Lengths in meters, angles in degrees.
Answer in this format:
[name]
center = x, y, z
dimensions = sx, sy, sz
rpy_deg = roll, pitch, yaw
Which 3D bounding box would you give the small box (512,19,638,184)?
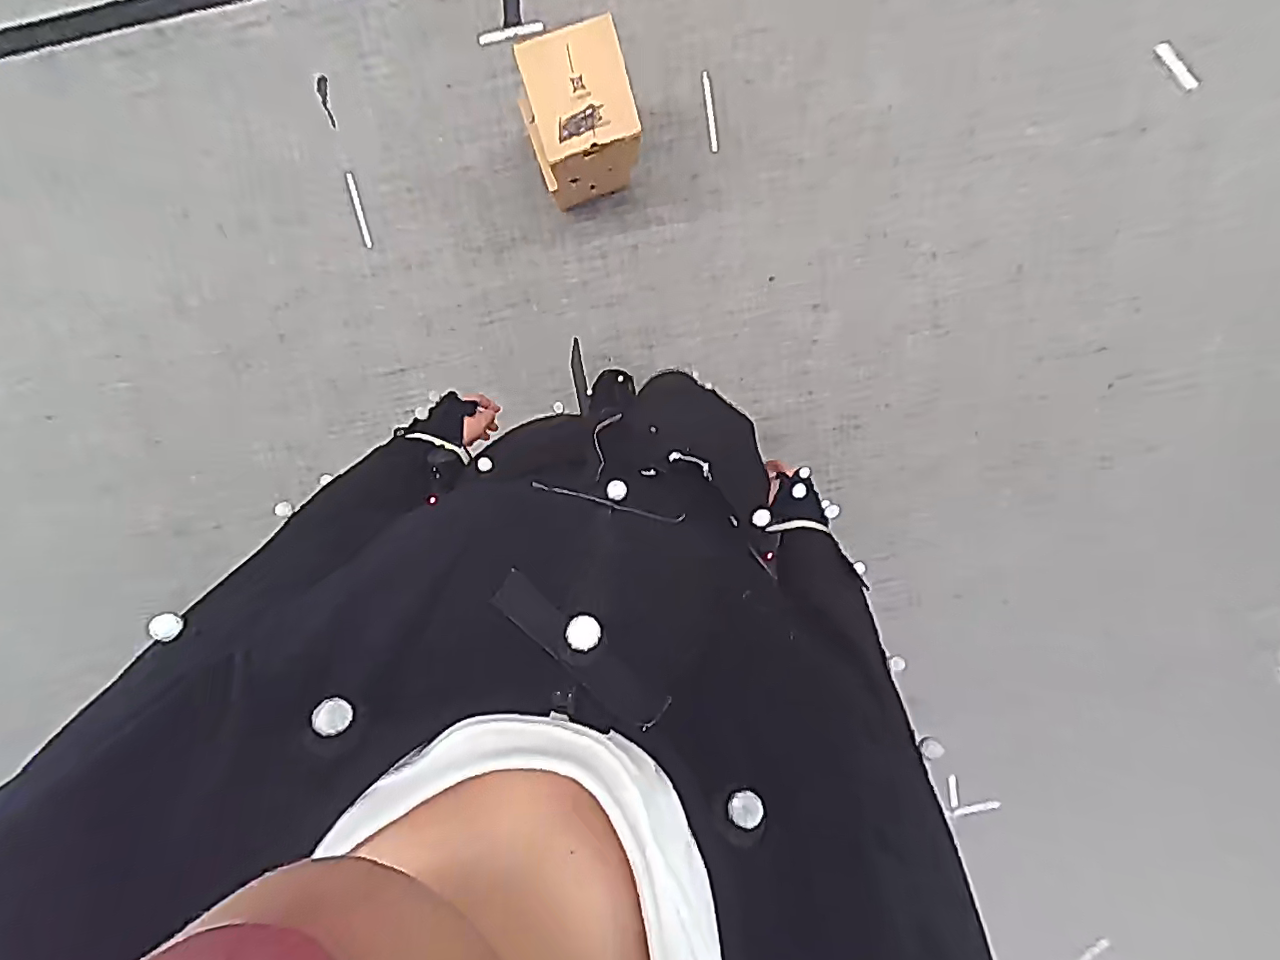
[small box]
center = -0.104, -0.644, 0.950
dimensions = 0.168, 0.176, 0.179
rpy_deg = -16, 104, 2
